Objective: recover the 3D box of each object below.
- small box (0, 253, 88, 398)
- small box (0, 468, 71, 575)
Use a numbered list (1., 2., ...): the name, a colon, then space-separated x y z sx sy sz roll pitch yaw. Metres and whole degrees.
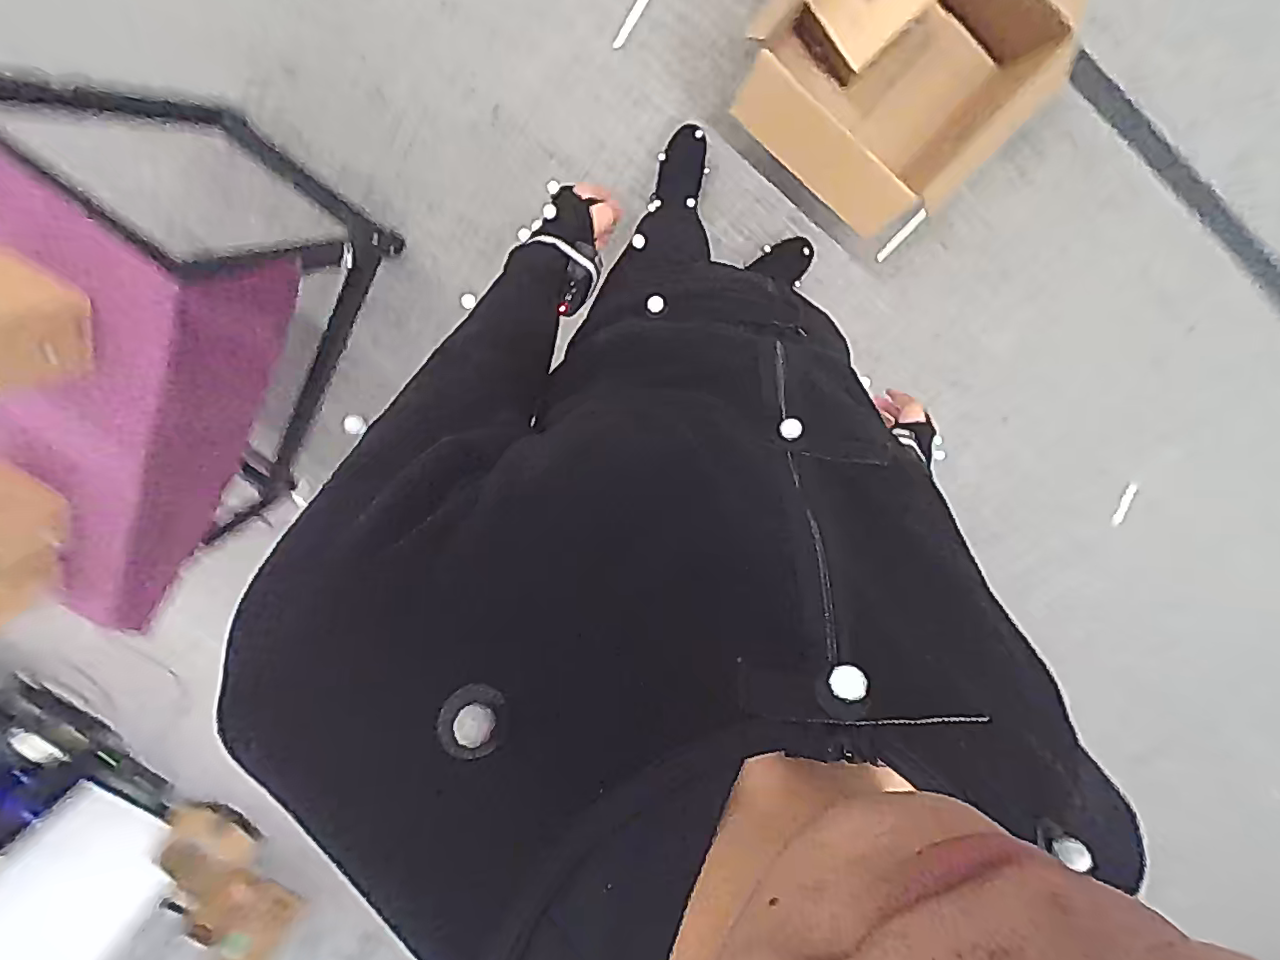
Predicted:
1. small box: -1.130 -0.277 0.949 0.179 0.176 0.168 32 120 -5
2. small box: -1.473 0.096 1.234 0.179 0.176 0.168 34 120 -8
